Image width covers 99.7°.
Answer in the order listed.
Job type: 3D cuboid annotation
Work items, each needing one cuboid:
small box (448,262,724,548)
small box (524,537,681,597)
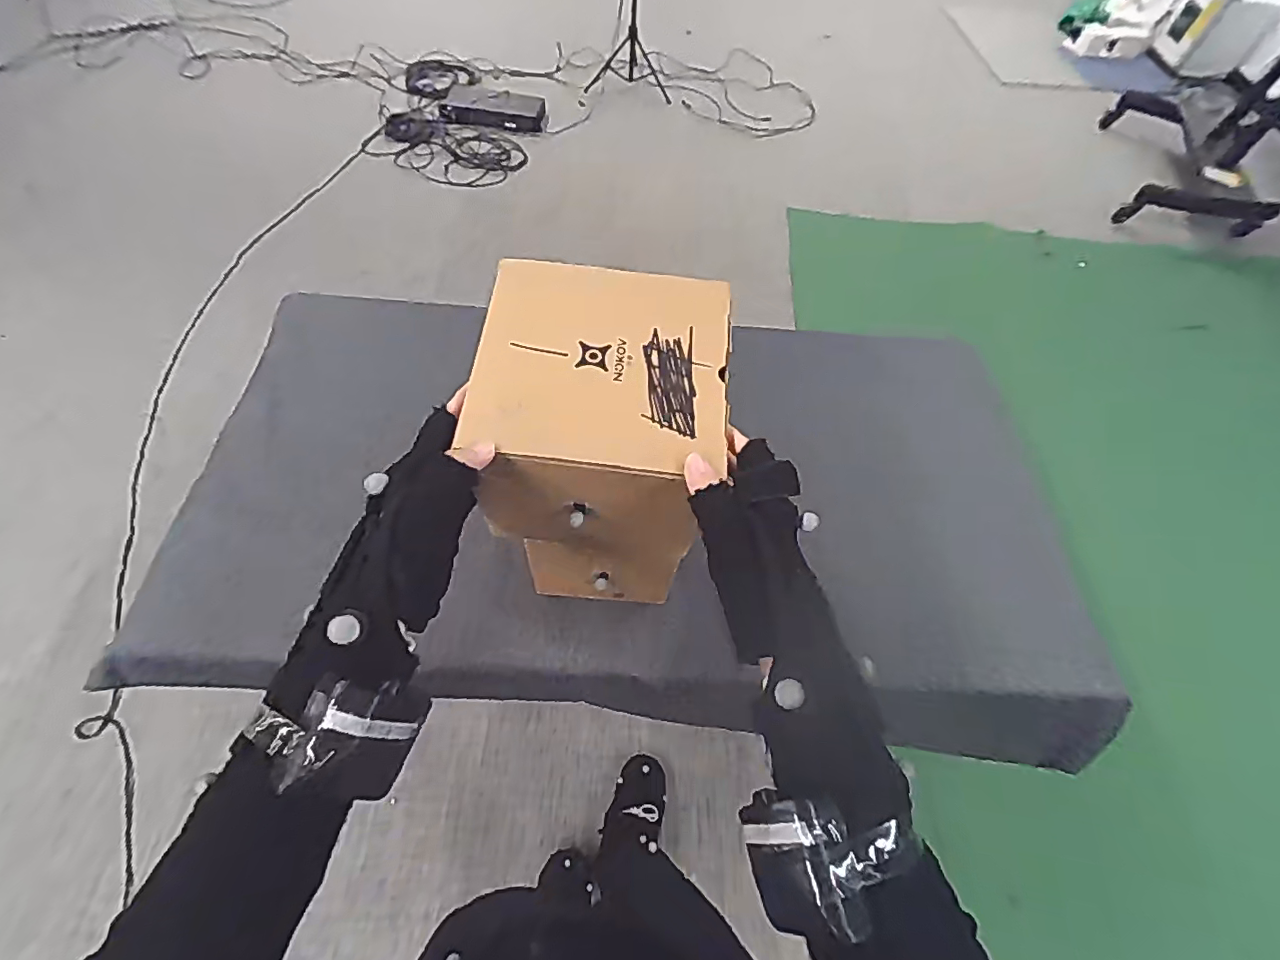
[{"bbox_3d":[-0.034,-0.049,0.448,0.179,0.176,0.168,5,65,-1],"label":"small box"},{"bbox_3d":[-0.037,0.035,0.664,0.168,0.176,0.179,3,59,-1],"label":"small box"}]
